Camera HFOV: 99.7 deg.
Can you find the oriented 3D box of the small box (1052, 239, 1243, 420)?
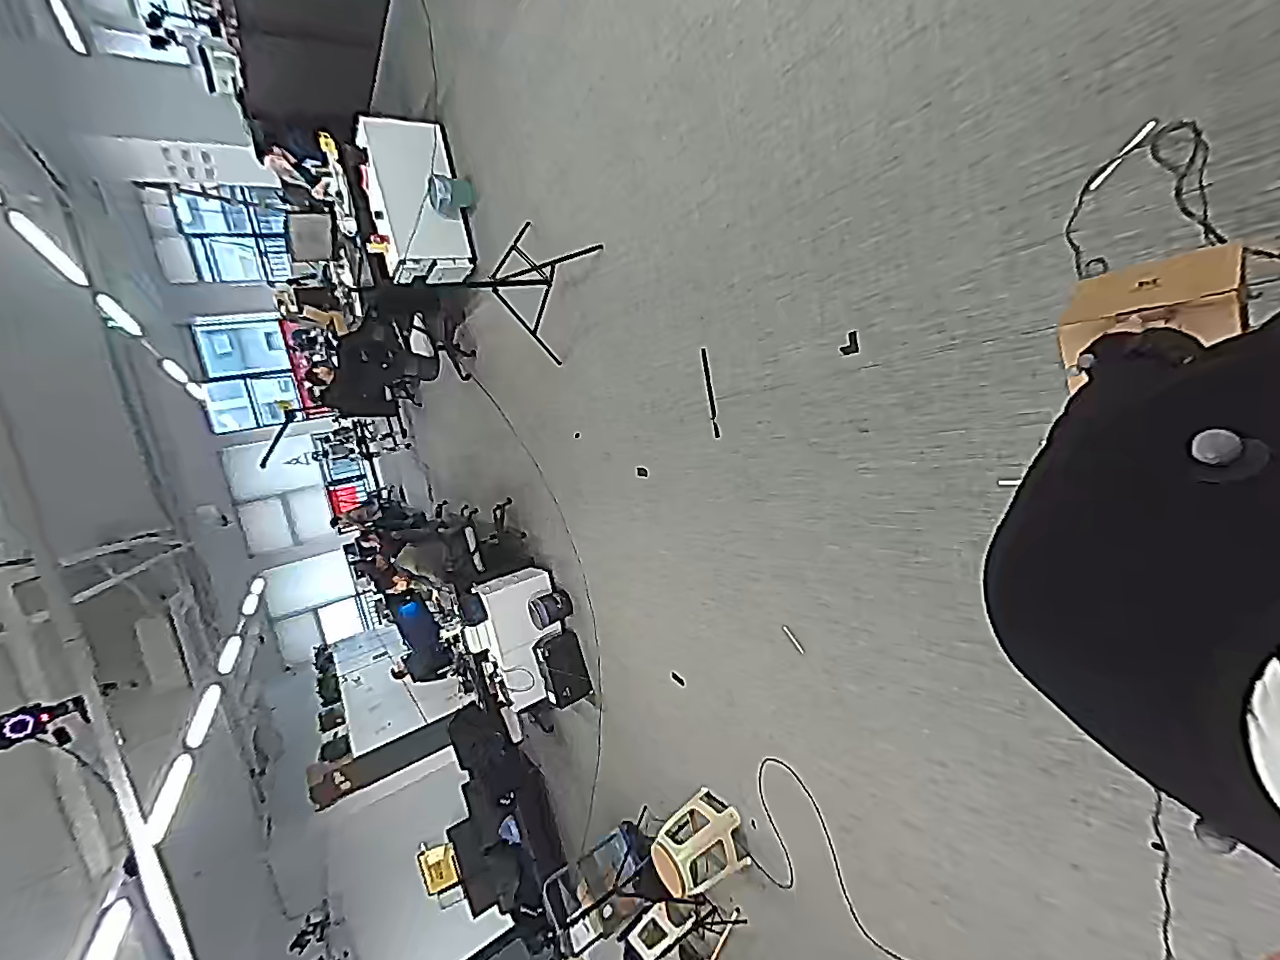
[{"bbox_3d":[0.696,-0.192,0.738,0.168,0.179,0.176,-1,124,50],"label":"small box"}]
